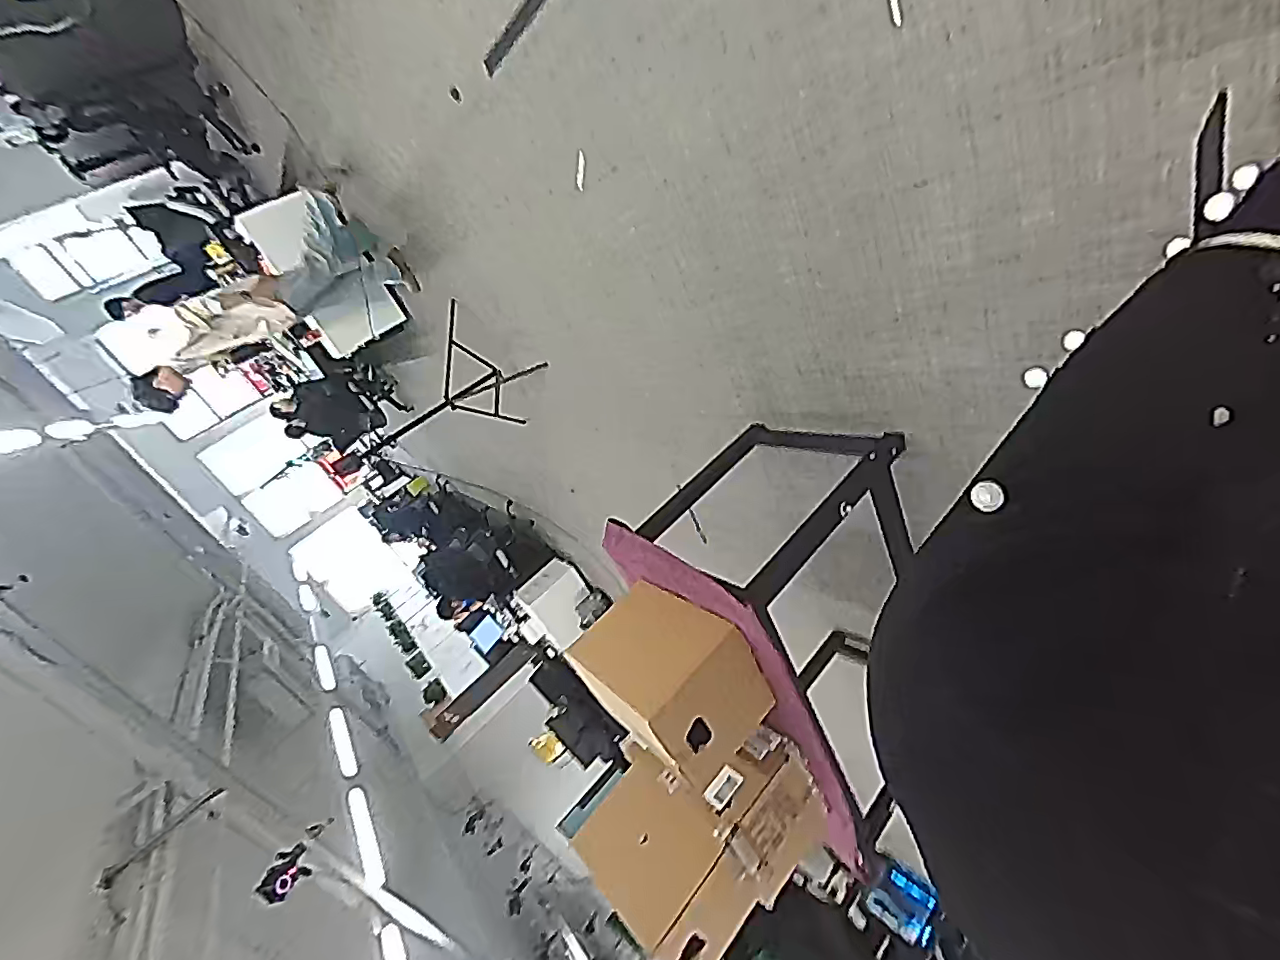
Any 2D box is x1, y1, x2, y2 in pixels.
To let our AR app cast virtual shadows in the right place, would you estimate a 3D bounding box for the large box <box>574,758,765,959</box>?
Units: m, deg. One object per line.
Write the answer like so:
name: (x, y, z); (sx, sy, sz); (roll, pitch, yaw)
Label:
large box: (0.082, 1.114, 1.580); (0.408, 0.320, 0.320); (14, 142, 53)
